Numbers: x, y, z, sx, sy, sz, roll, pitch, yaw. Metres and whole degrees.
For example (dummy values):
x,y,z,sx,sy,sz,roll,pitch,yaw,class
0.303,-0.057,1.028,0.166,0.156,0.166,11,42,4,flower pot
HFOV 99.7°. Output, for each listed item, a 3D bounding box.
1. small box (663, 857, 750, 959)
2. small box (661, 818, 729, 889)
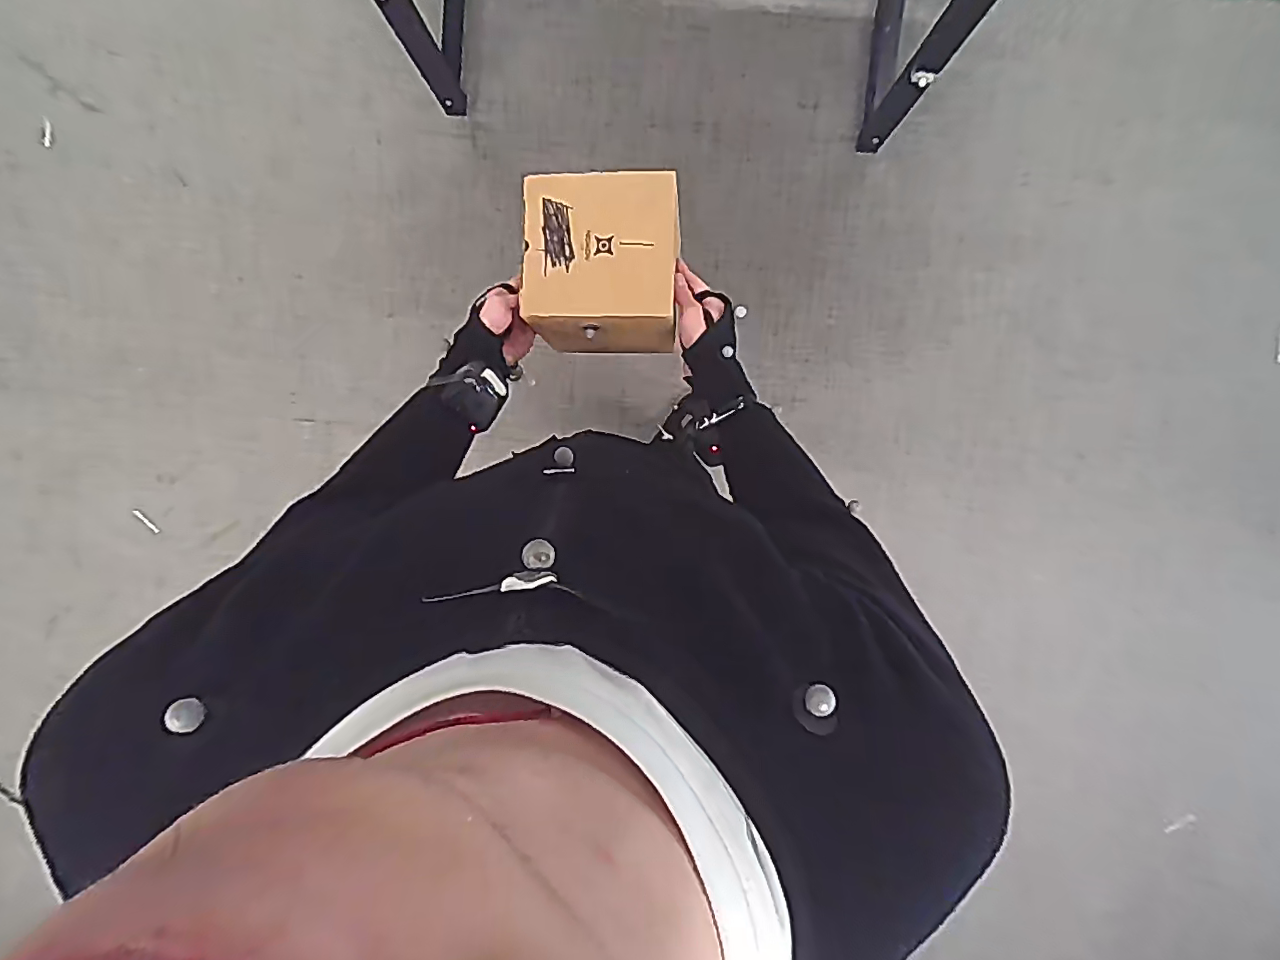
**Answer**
x,y,z,sx,sy,sz,roll,pitch,yaw,class
0.166,1.140,1.421,0.179,0.176,0.168,18,97,-3,small box
0.169,1.131,1.576,0.179,0.176,0.168,-17,97,0,small box
